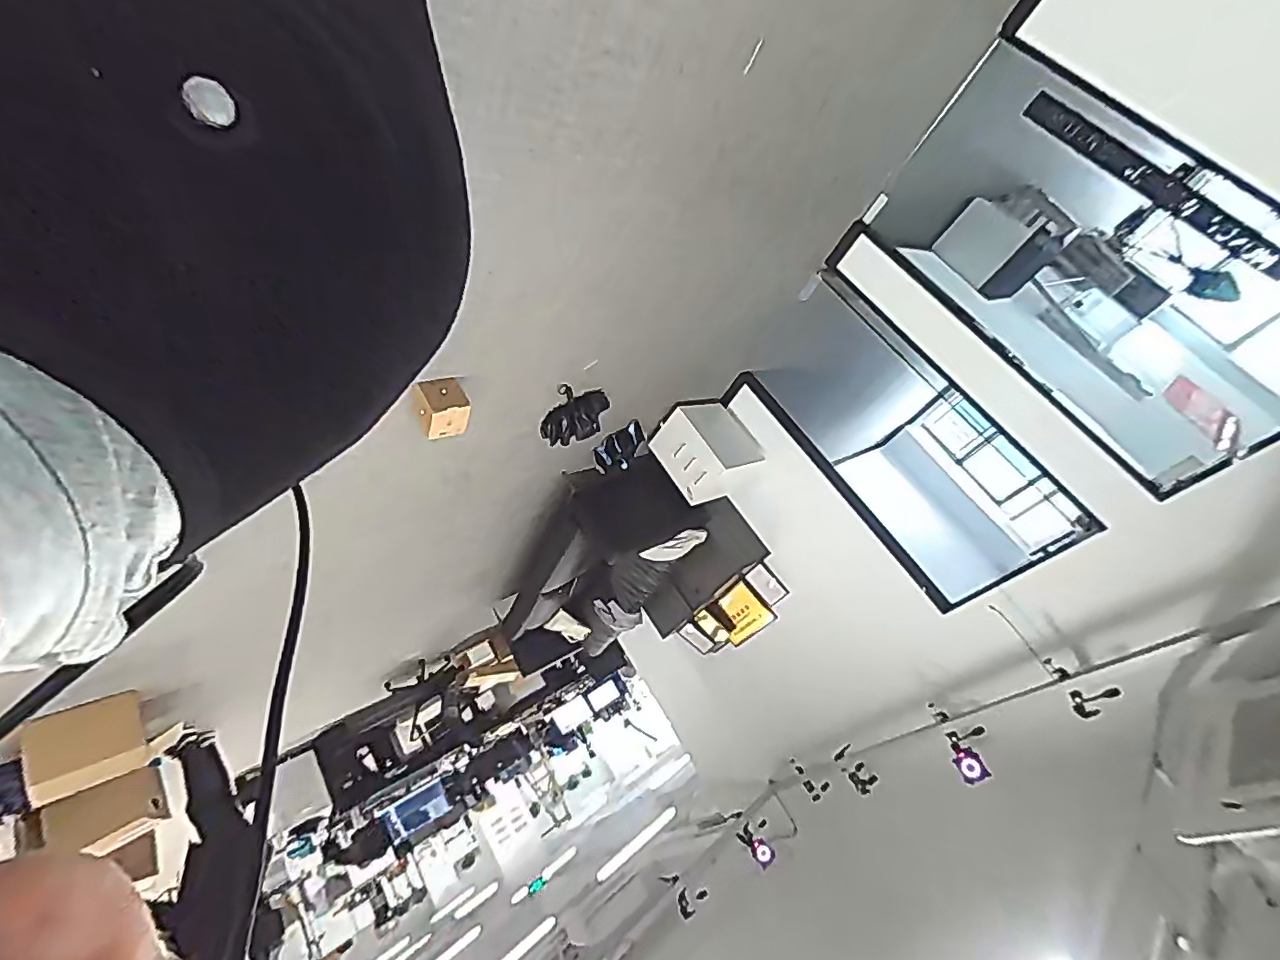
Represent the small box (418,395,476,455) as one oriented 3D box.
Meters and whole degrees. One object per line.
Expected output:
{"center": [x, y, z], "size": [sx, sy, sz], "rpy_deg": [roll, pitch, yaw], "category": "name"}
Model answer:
{"center": [-0.808, -0.238, 2.253], "size": [0.168, 0.176, 0.179], "rpy_deg": [-19, 153, -39], "category": "small box"}
